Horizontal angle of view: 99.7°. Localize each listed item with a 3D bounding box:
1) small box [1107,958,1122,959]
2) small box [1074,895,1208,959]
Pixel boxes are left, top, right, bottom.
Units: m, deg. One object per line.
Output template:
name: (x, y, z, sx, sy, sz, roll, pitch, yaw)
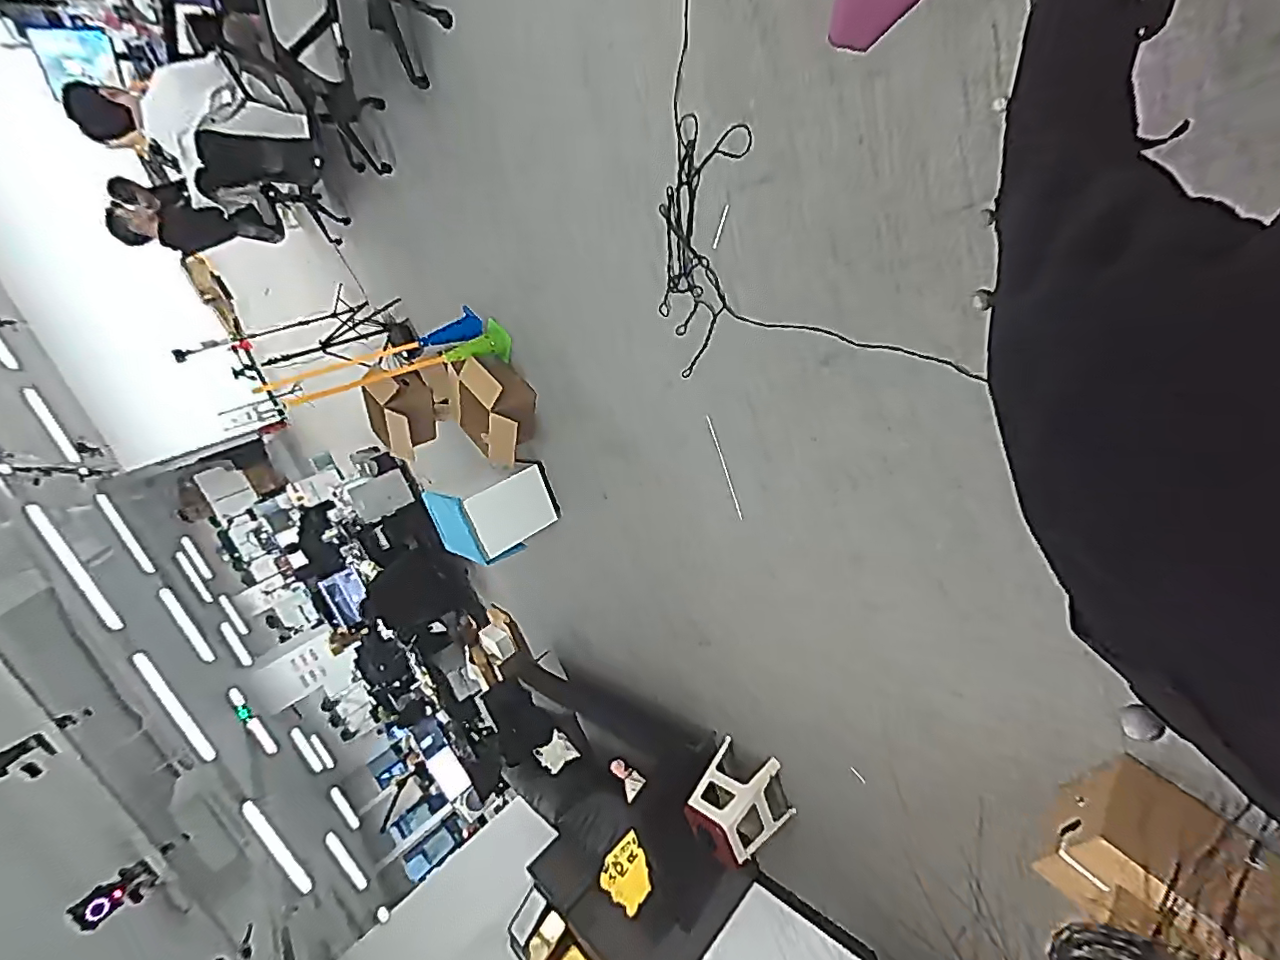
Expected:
small box: (1.121, 1.234, 1.223, 0.179, 0.176, 0.168, 35, 140, 29)
small box: (1.231, 1.171, 1.330, 0.179, 0.176, 0.168, 34, 140, 33)
